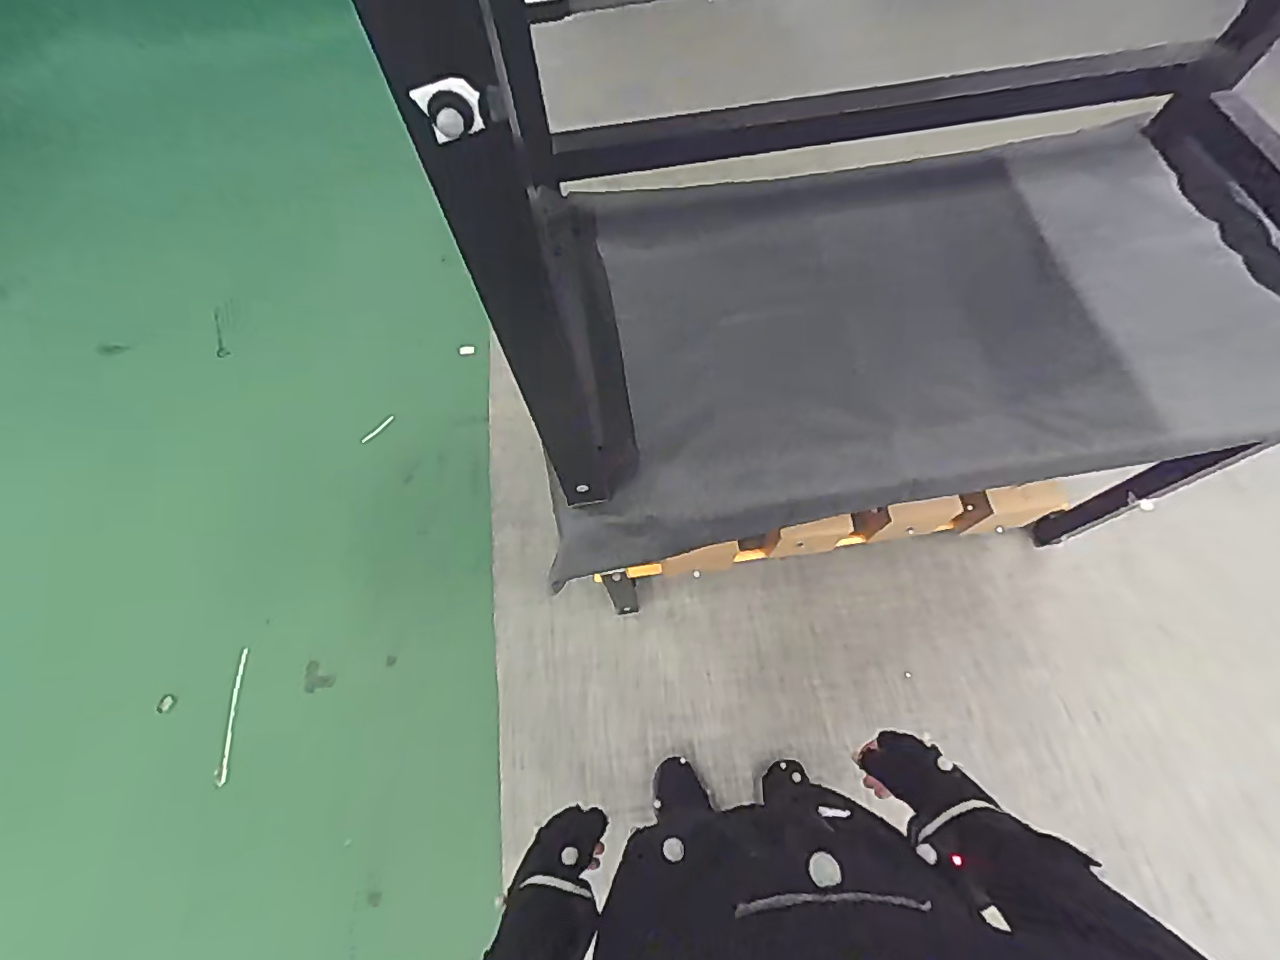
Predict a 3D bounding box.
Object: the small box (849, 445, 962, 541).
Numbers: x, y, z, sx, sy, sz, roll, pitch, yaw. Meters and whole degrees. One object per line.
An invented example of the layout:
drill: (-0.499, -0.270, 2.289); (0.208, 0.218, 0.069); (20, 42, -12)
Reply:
small box: (0.626, 0.039, 1.299); (0.168, 0.176, 0.179); (-9, 66, -1)

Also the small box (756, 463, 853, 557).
small box: (0.384, 0.079, 1.293); (0.168, 0.176, 0.179); (-7, 66, -1)
